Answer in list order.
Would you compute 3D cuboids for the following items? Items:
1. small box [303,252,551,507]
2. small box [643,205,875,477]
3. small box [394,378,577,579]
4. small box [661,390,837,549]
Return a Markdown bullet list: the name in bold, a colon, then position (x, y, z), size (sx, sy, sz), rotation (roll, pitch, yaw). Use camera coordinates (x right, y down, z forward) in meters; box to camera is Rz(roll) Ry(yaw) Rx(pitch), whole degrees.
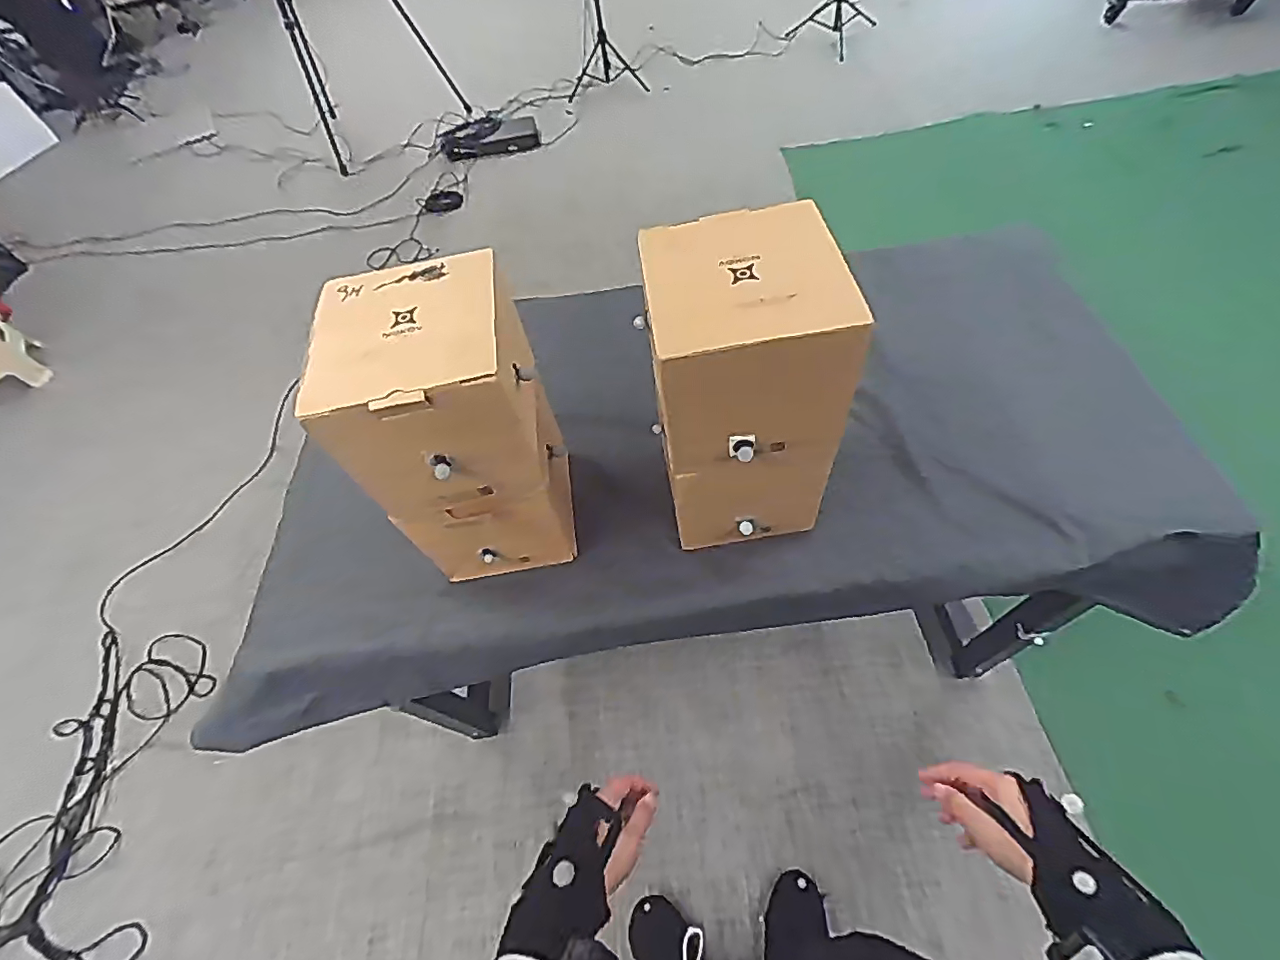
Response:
- **small box**: position (-0.192, -0.088, 0.537), size (0.168, 0.176, 0.179), rotation (-12, 57, 0)
- **small box**: position (0.099, -0.128, 0.522), size (0.168, 0.176, 0.179), rotation (-10, 56, 3)
- **small box**: position (-0.179, 0.001, 0.674), size (0.168, 0.176, 0.179), rotation (-11, 56, 0)
- **small box**: position (0.117, -0.039, 0.656), size (0.168, 0.176, 0.179), rotation (-10, 55, 2)
